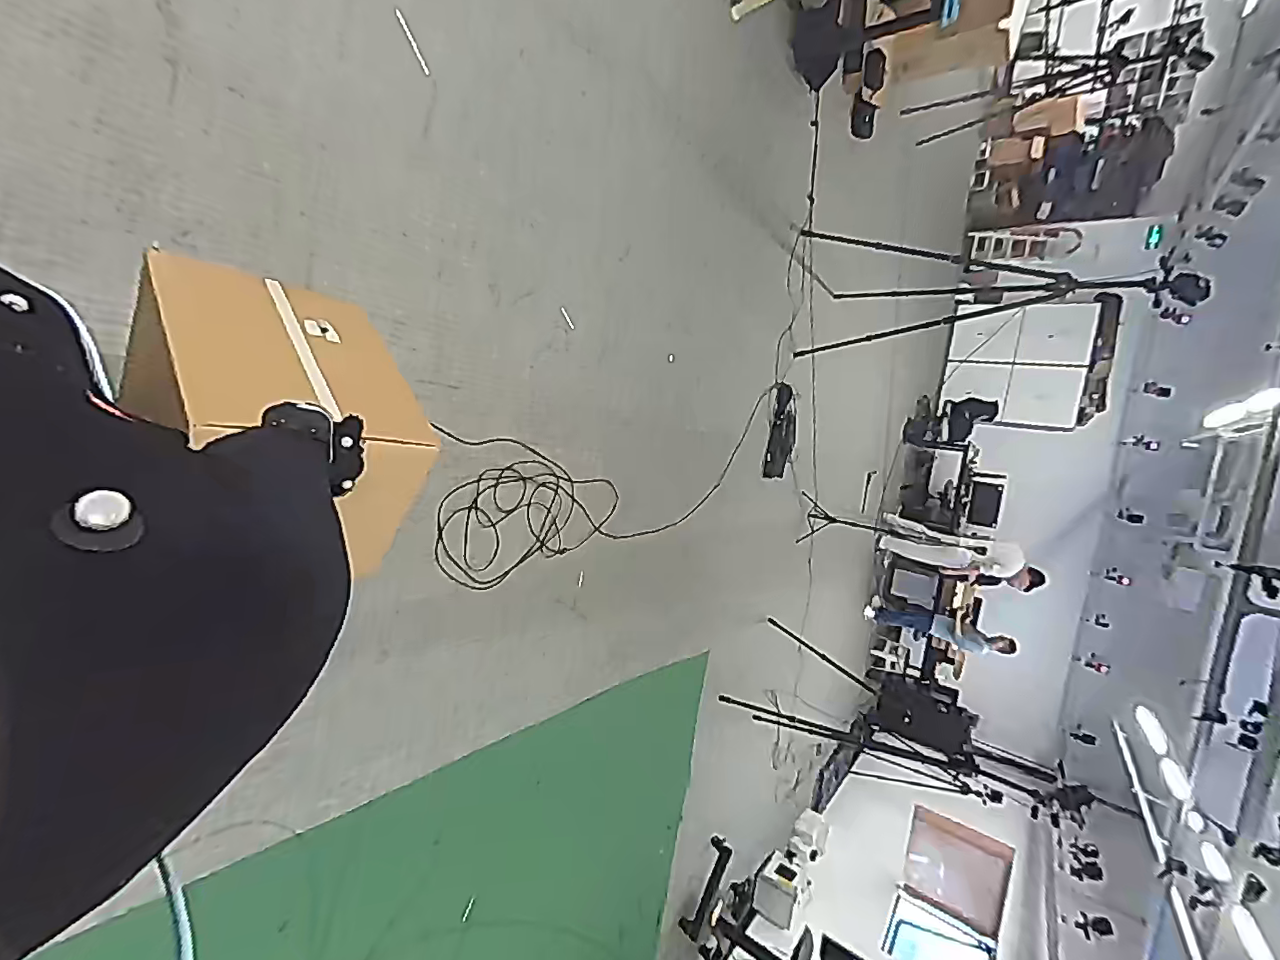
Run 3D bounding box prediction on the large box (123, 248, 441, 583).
[{"bbox_3d":[-0.599,-0.095,0.888,0.320,0.408,0.320,4,131,-52],"label":"large box"}]
